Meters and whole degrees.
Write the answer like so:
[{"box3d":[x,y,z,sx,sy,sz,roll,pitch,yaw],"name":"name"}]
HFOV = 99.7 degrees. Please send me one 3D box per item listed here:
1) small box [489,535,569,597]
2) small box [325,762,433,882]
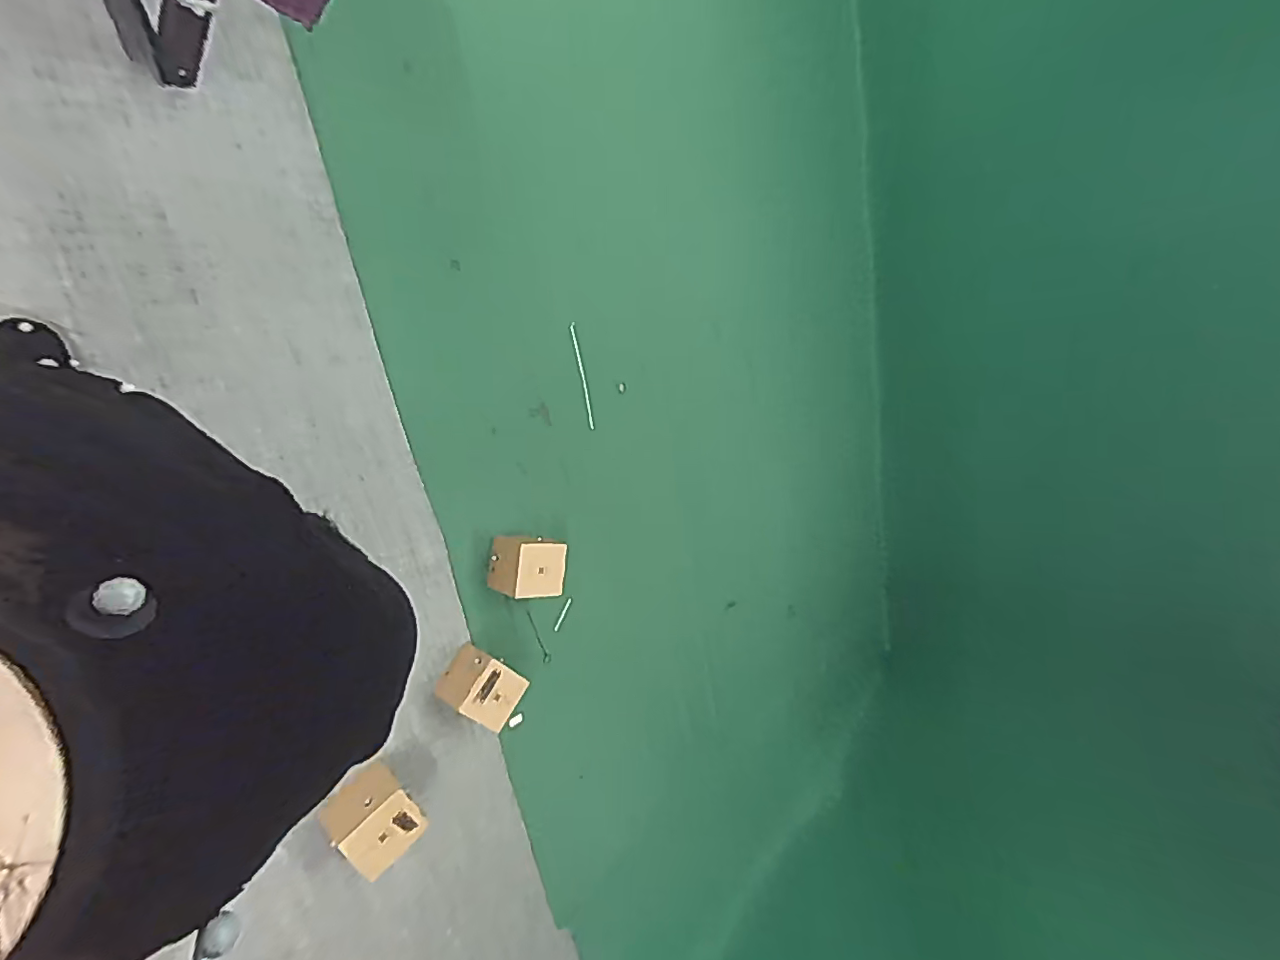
[{"box3d":[-0.352,0.268,1.714,0.179,0.176,0.168,8,88,-45],"name":"small box"},{"box3d":[-0.693,0.894,1.434,0.179,0.176,0.168,-38,119,-35],"name":"small box"}]
